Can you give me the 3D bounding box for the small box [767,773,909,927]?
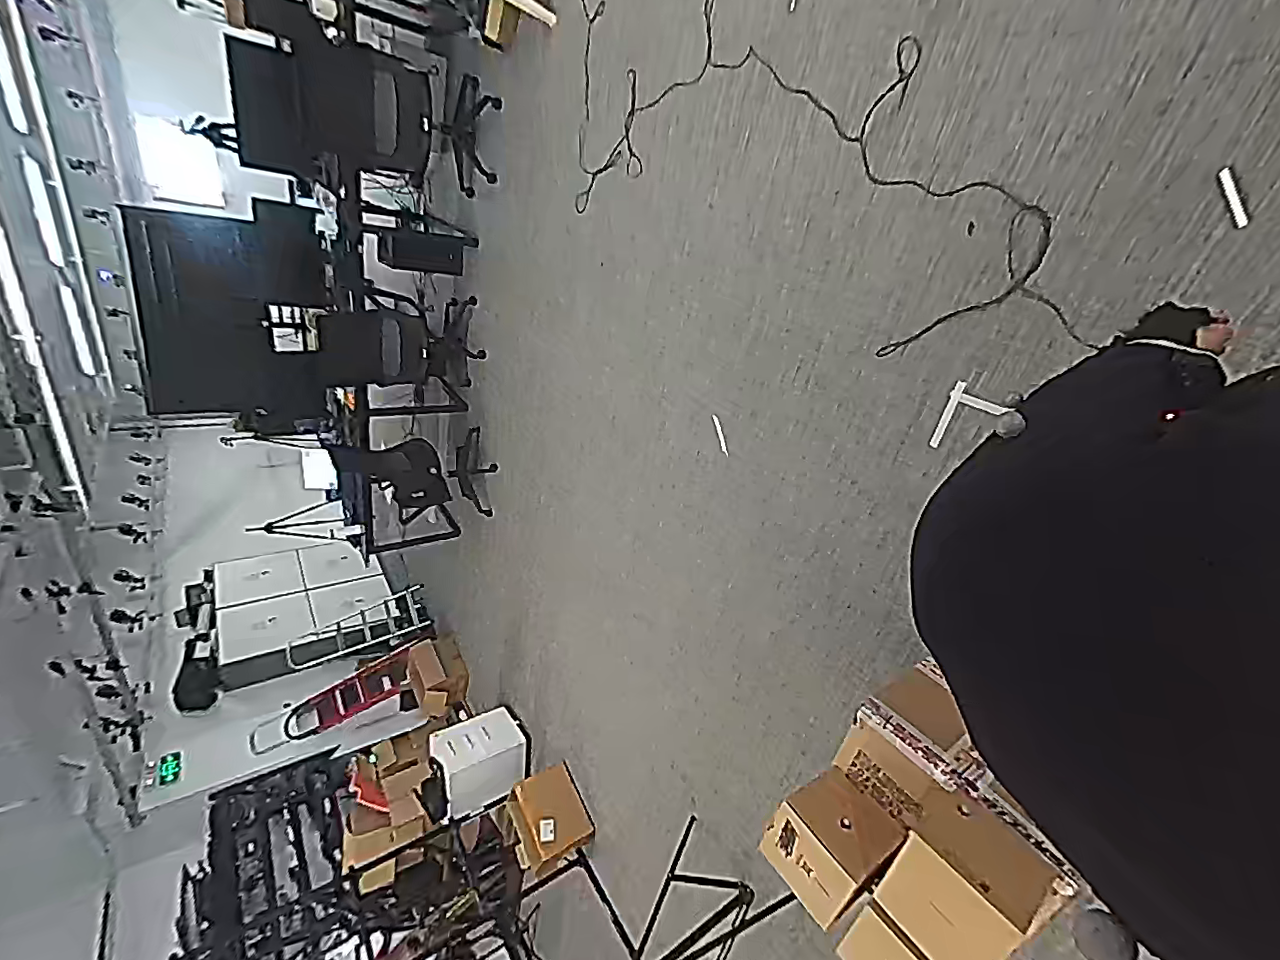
[{"bbox_3d":[0.392,0.721,1.081,0.179,0.176,0.168,41,127,43],"label":"small box"}]
